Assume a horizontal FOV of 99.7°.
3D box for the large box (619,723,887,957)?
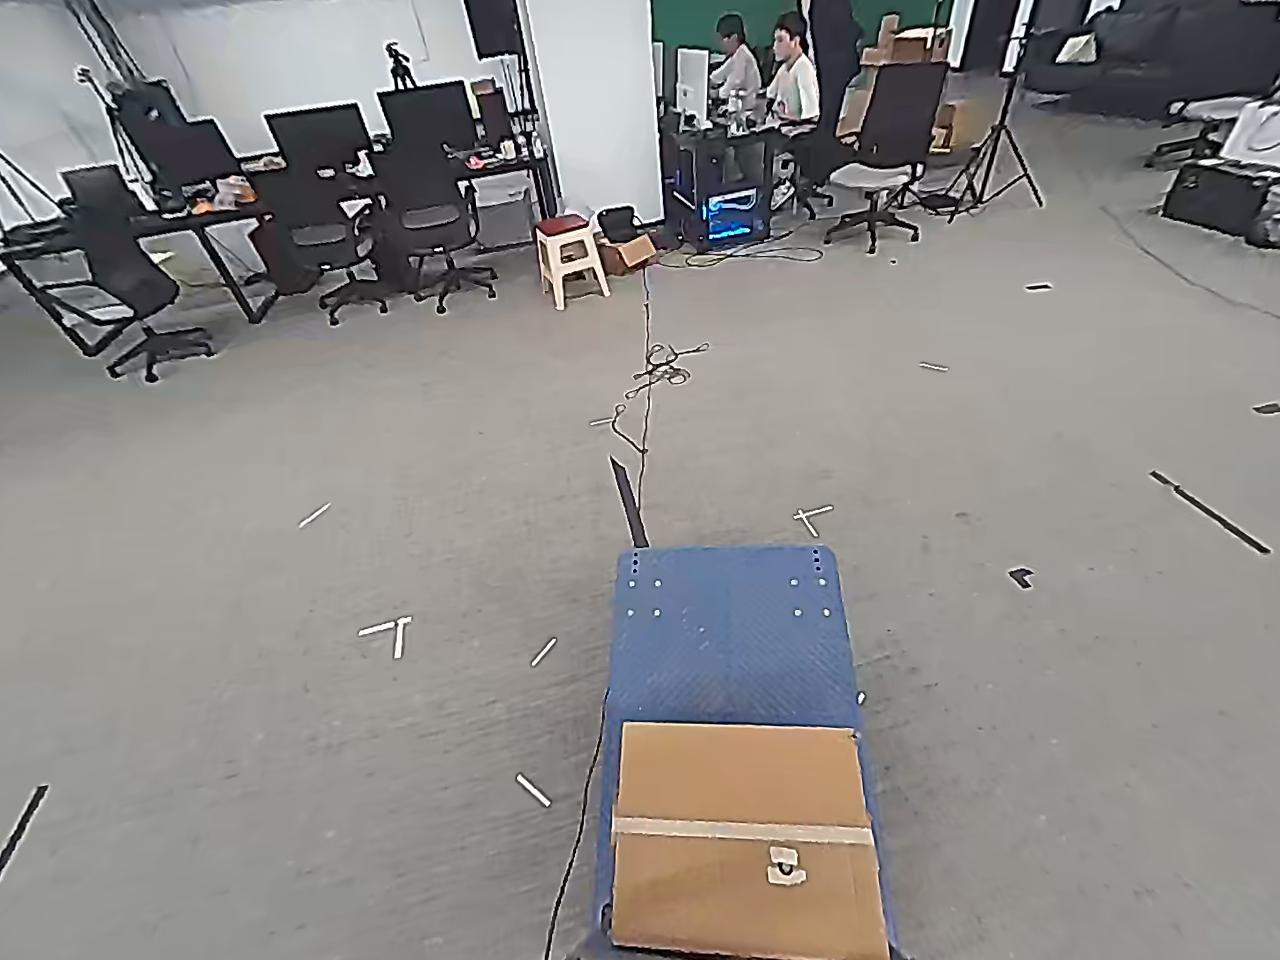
[{"bbox_3d":[0.184,0.652,1.009,0.408,0.320,0.320,-1,57,7],"label":"large box"}]
